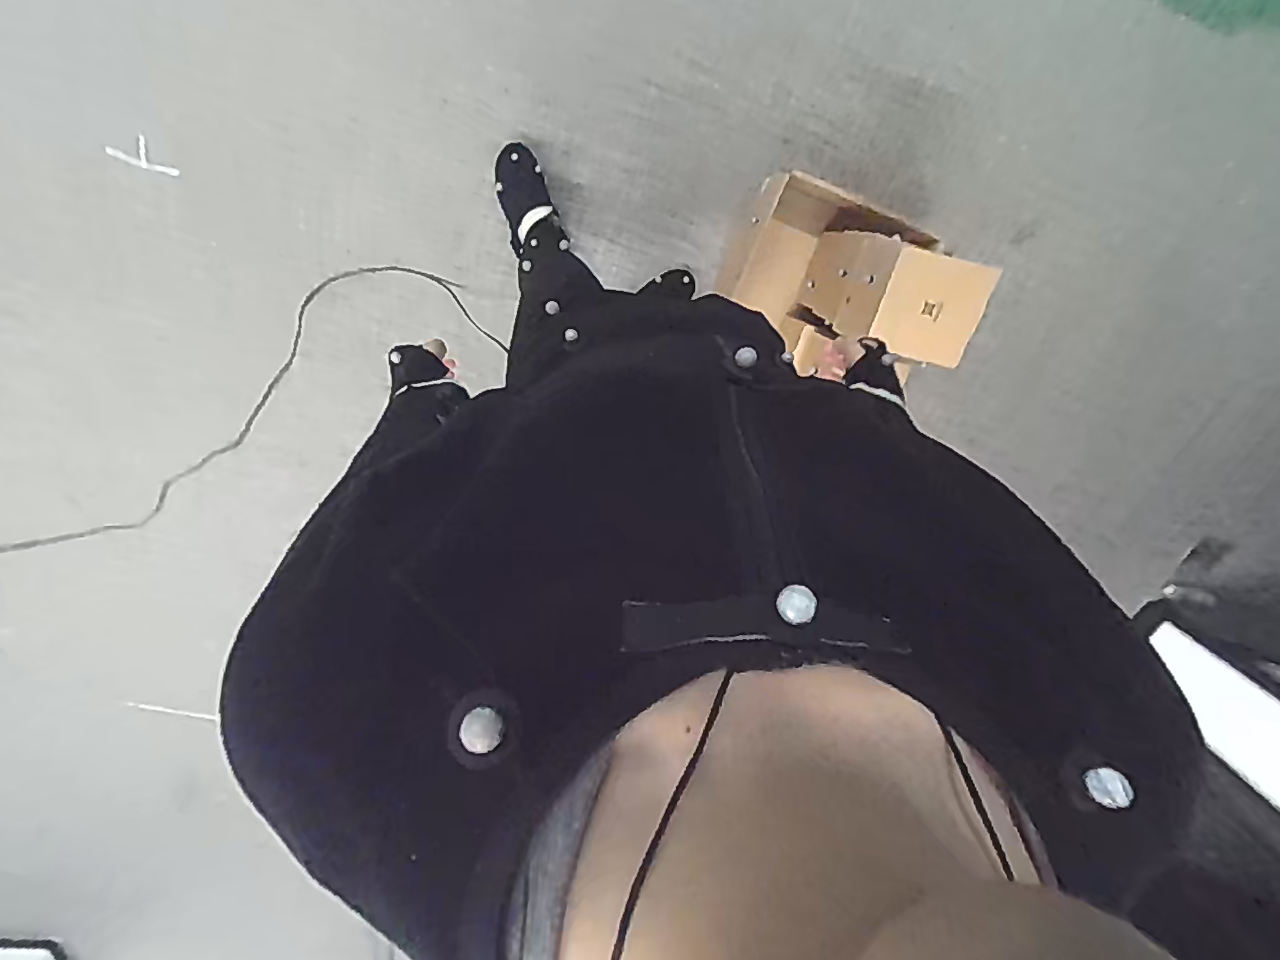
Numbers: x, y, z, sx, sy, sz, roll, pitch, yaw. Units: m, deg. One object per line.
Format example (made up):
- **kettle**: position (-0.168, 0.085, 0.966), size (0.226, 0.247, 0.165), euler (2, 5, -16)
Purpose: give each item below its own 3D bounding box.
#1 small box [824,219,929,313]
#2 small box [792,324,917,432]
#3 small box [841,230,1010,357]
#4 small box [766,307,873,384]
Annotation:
- **small box**: position (0.492, -0.409, 1.087), size (0.168, 0.176, 0.179), euler (14, 115, -8)
- **small box**: position (0.453, -0.228, 1.175), size (0.168, 0.176, 0.179), euler (13, 113, -8)
- **small box**: position (0.480, -0.330, 0.944), size (0.179, 0.176, 0.168), euler (11, 117, -6)
- **small box**: position (0.433, -0.311, 1.317), size (0.179, 0.176, 0.168), euler (18, 112, -10)
